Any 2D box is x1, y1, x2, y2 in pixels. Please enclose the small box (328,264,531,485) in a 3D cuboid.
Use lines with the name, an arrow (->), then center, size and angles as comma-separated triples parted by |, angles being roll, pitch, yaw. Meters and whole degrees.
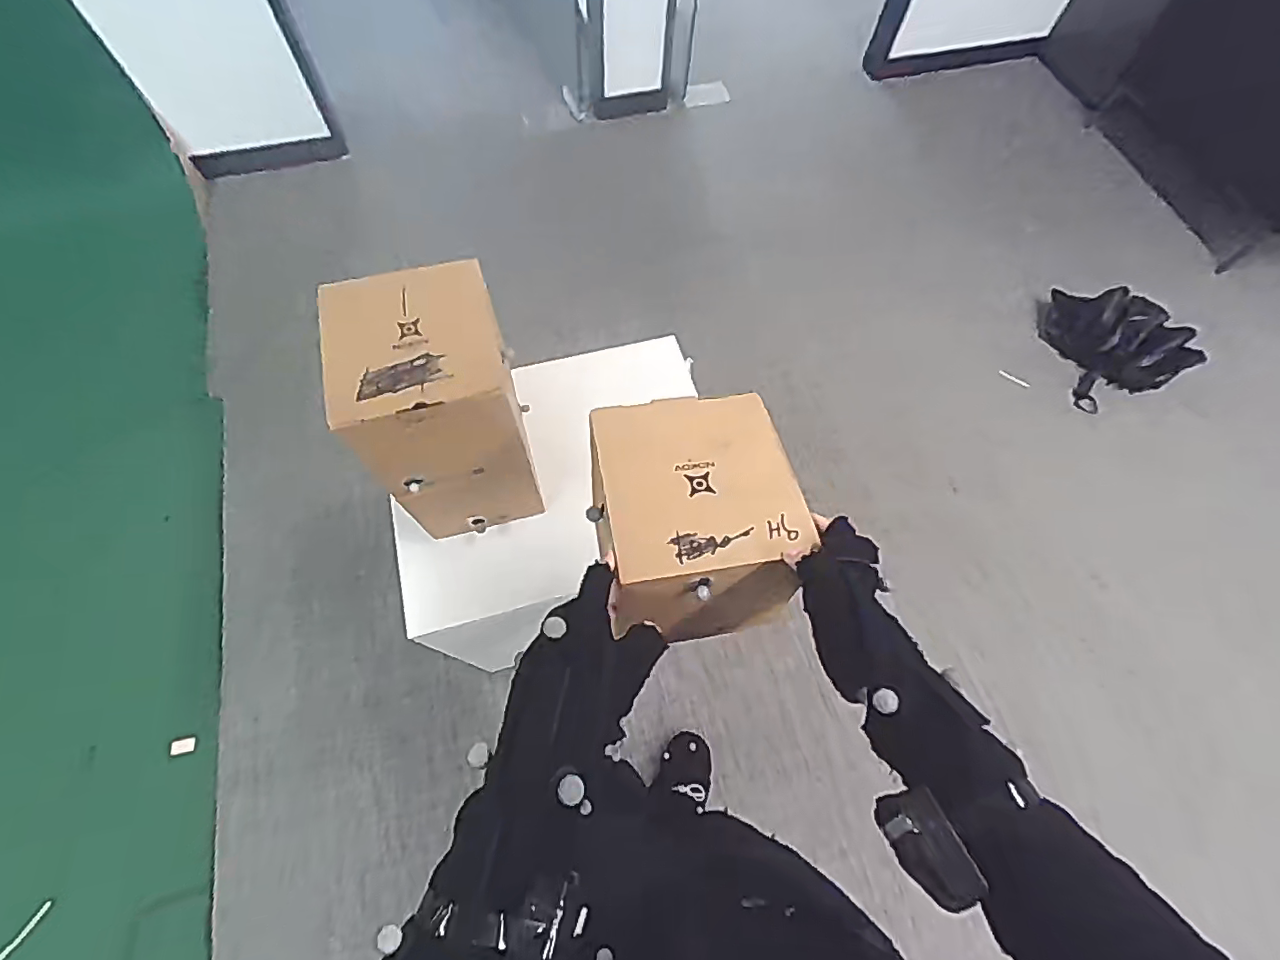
small box -> -0.228, -0.107, 0.615 | 0.168, 0.176, 0.179 | -13, 67, -8

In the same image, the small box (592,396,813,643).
small box -> 0.042, 0.041, 0.539 | 0.168, 0.176, 0.179 | -7, 56, -8

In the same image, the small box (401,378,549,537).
small box -> -0.234, -0.039, 0.765 | 0.168, 0.176, 0.179 | -15, 69, -8
